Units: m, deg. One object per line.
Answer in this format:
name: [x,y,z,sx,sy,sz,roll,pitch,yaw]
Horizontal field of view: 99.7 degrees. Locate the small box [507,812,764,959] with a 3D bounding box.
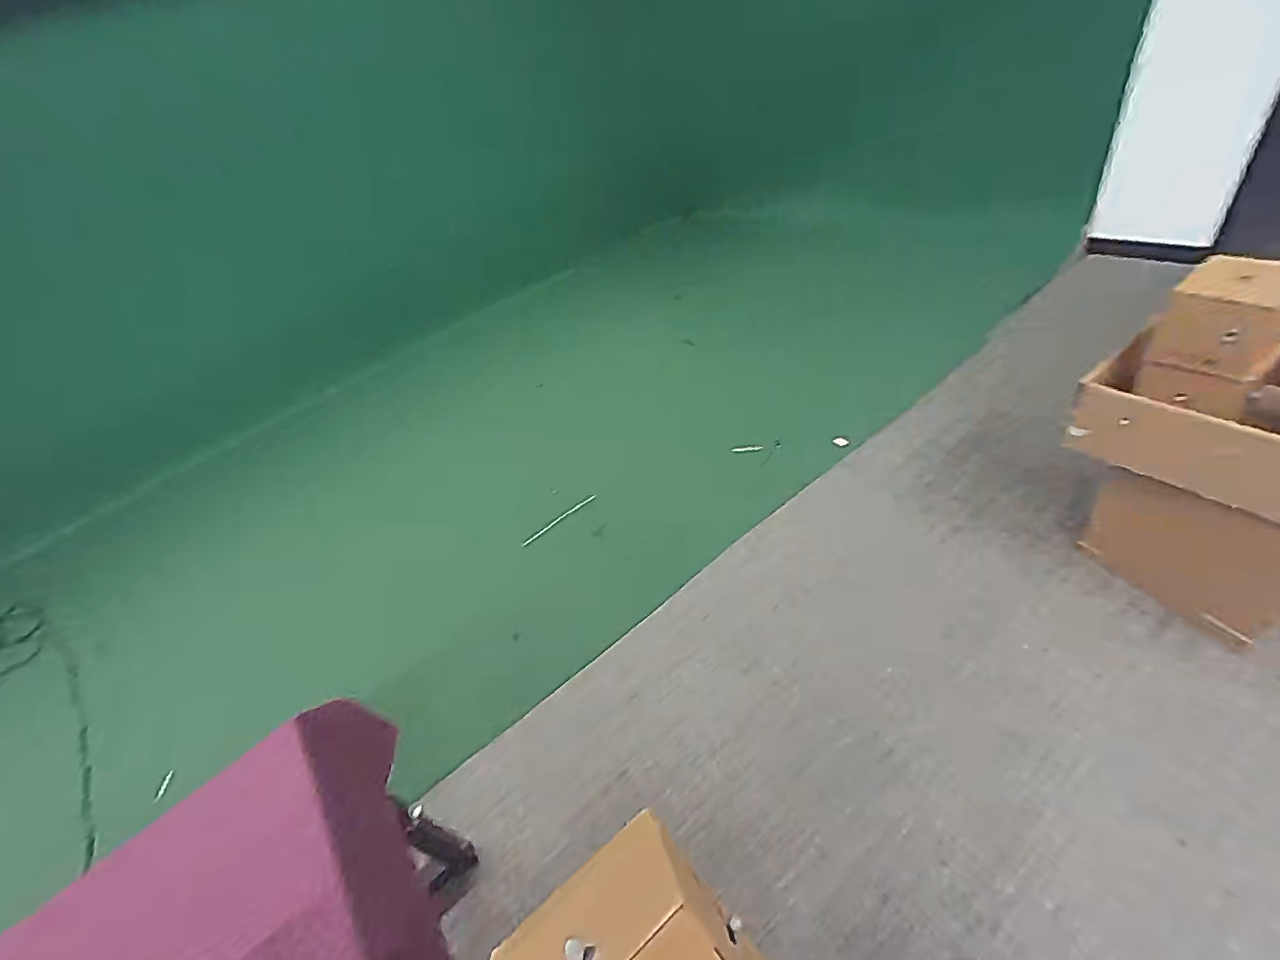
small box: [0.005,0.396,0.397,0.179,0.176,0.168,-37,84,-14]

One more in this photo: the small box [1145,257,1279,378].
small box: [1.214,-0.340,1.132,0.179,0.176,0.168,-33,43,-17]
